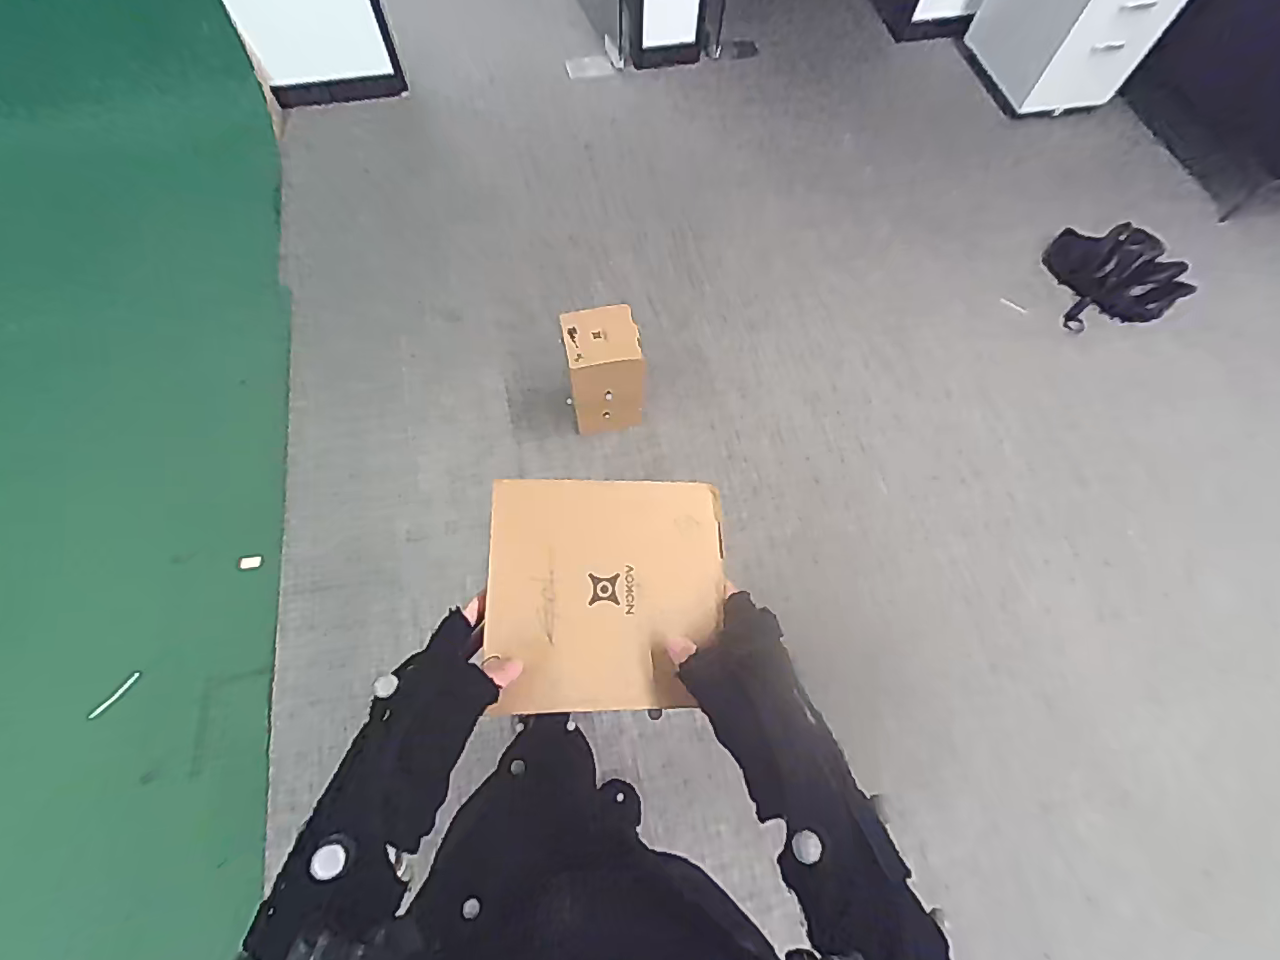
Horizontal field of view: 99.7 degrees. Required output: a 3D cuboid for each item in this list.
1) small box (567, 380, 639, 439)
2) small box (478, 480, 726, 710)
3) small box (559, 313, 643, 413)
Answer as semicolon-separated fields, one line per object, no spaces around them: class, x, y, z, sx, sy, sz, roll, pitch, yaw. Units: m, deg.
small box;-0.106;-0.236;1.516;0.179;0.176;0.168;-12;66;-6
small box;-0.036;0.103;0.474;0.179;0.176;0.168;0;72;-7
small box;-0.099;-0.291;1.365;0.179;0.176;0.168;-13;68;-7
